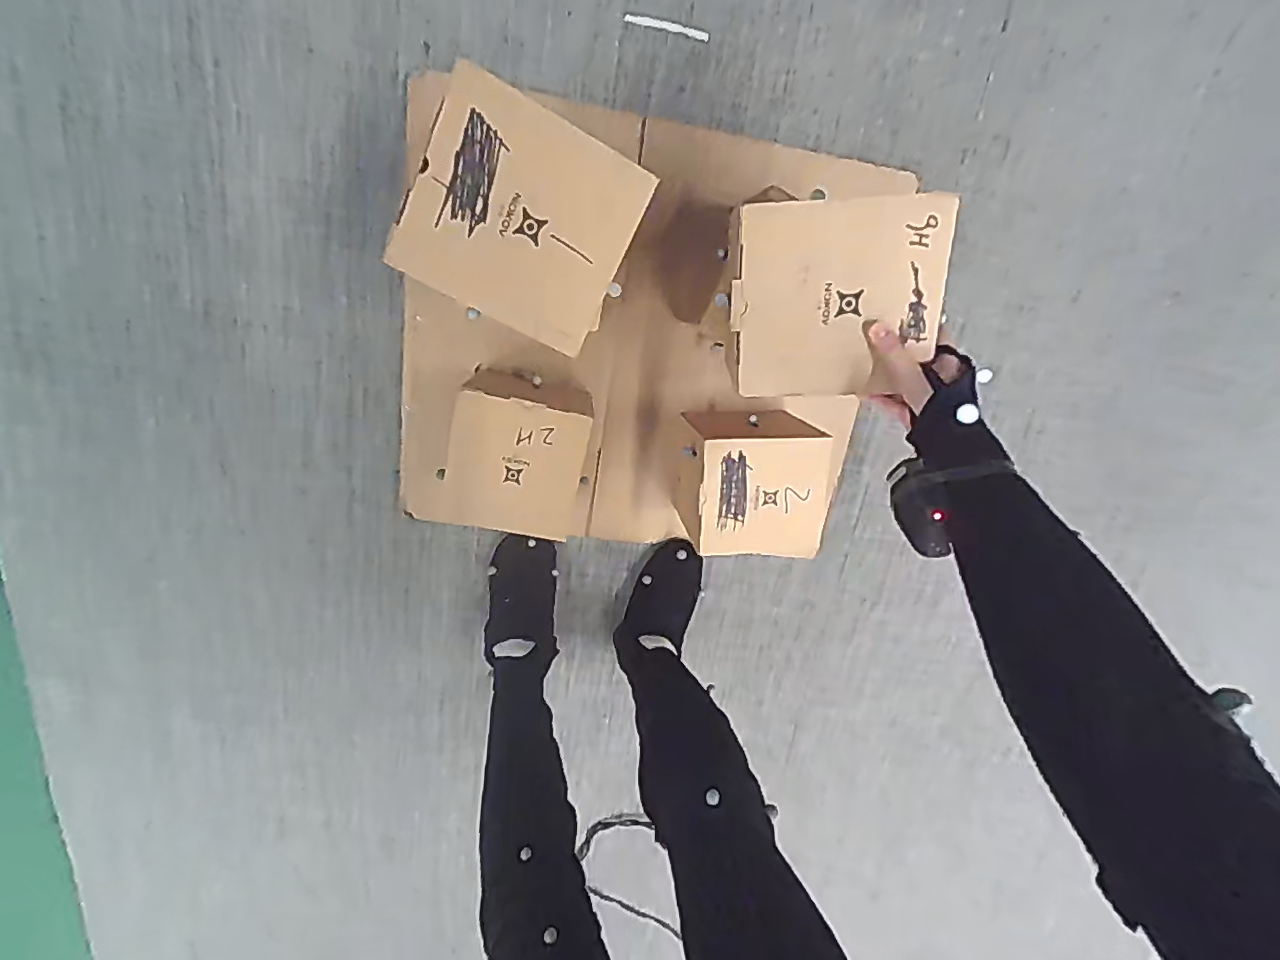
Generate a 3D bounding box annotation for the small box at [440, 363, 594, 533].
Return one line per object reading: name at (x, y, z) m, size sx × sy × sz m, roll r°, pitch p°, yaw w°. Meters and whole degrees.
small box at (-0.163, -0.051, 0.749) m, size 0.168 × 0.176 × 0.179 m, roll 12°, pitch 106°, yaw -11°

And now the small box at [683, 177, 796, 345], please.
small box at (0.173, -0.256, 0.714) m, size 0.168 × 0.176 × 0.179 m, roll 25°, pitch 104°, yaw -13°

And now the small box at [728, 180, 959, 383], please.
small box at (0.180, -0.195, 0.544) m, size 0.179 × 0.176 × 0.168 m, roll 0°, pitch 112°, yaw 6°

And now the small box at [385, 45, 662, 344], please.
small box at (-0.104, -0.246, 0.517) m, size 0.179 × 0.176 × 0.168 m, roll 26°, pitch 103°, yaw -14°
